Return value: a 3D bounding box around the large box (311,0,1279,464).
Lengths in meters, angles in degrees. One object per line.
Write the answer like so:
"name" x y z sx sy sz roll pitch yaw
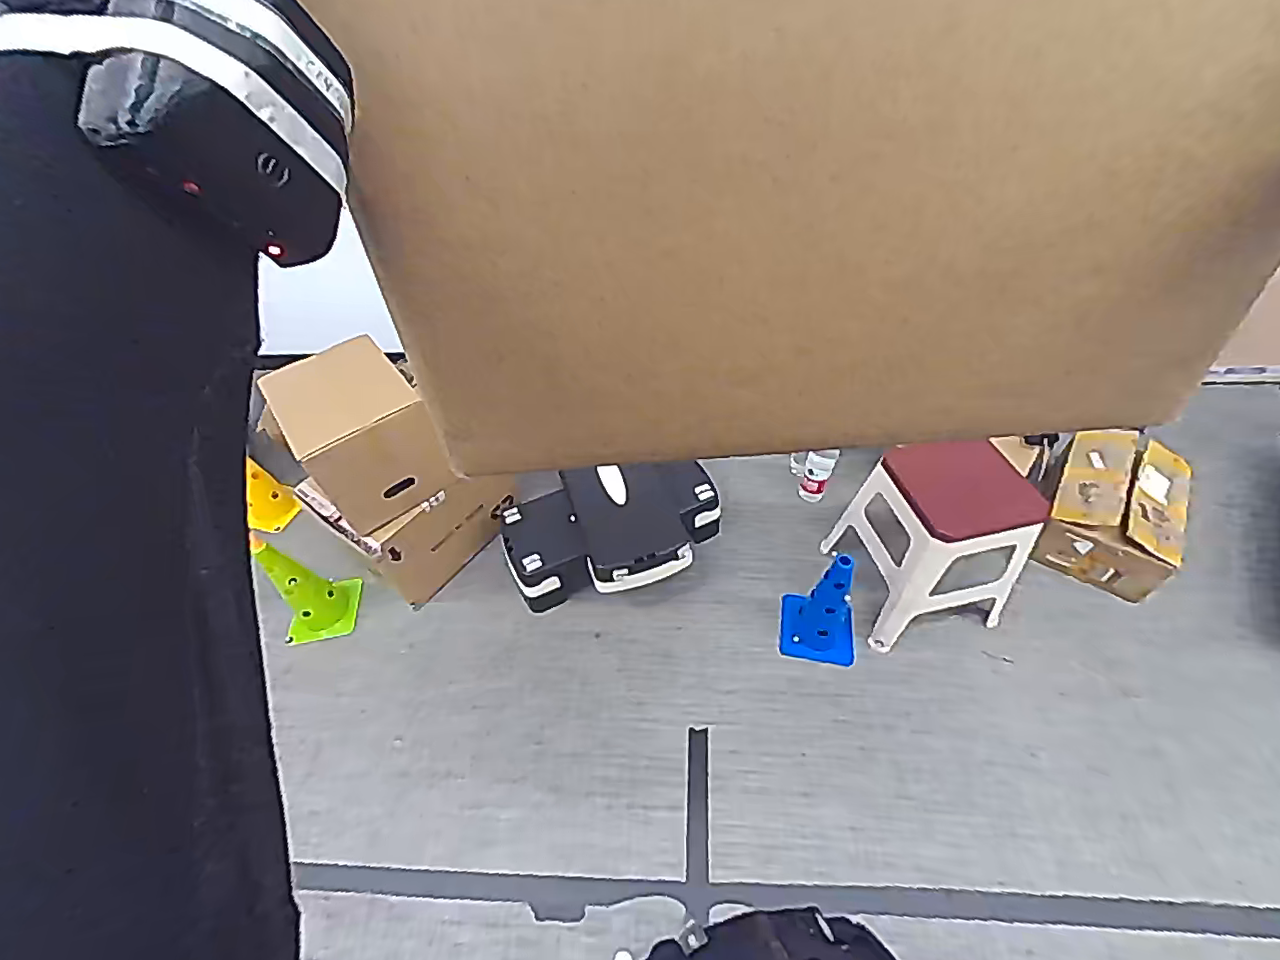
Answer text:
"large box" 0.076 -0.231 0.334 0.408 0.320 0.320 -4 40 0
